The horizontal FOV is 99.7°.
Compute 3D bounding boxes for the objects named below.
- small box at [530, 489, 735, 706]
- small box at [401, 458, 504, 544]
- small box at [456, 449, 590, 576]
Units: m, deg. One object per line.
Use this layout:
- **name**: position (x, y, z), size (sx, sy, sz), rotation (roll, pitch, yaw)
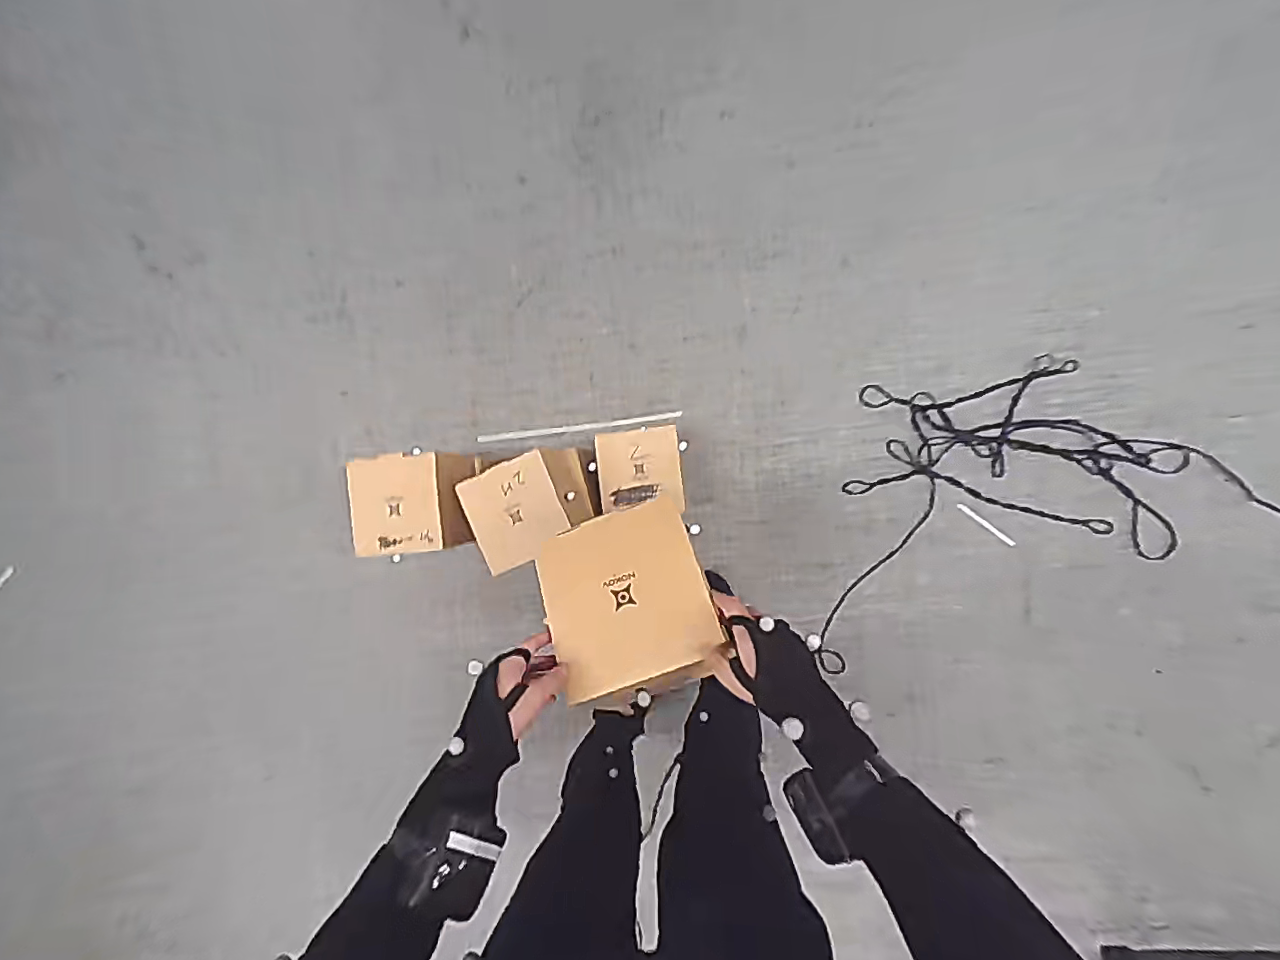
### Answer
- **small box**: position (-0.001, 0.140, 0.605), size (0.168, 0.176, 0.179), rotation (-21, 62, 4)
- **small box**: position (-0.394, 0.043, 1.188), size (0.179, 0.176, 0.168), rotation (-6, 88, 7)
- **small box**: position (-0.203, 0.055, 1.004), size (0.168, 0.176, 0.179), rotation (-24, 87, 6)
